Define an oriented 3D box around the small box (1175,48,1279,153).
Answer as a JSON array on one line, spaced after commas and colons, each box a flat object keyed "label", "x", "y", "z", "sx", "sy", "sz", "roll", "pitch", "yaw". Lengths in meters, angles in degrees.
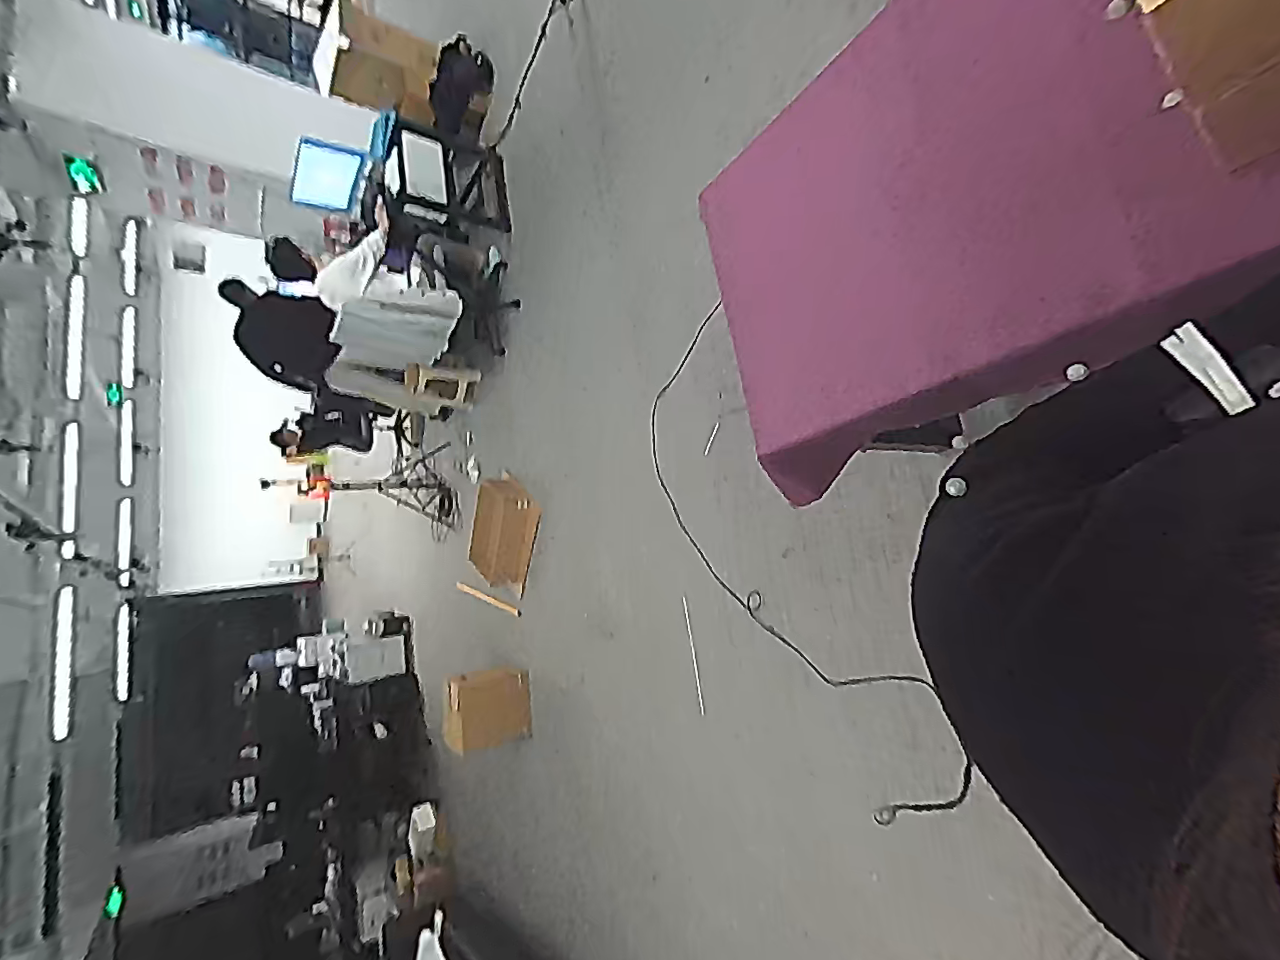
[{"label": "small box", "x": 0.579, "y": -0.428, "z": 0.478, "sx": 0.168, "sy": 0.176, "sz": 0.179, "roll": -23, "pitch": 74, "yaw": 50}]
